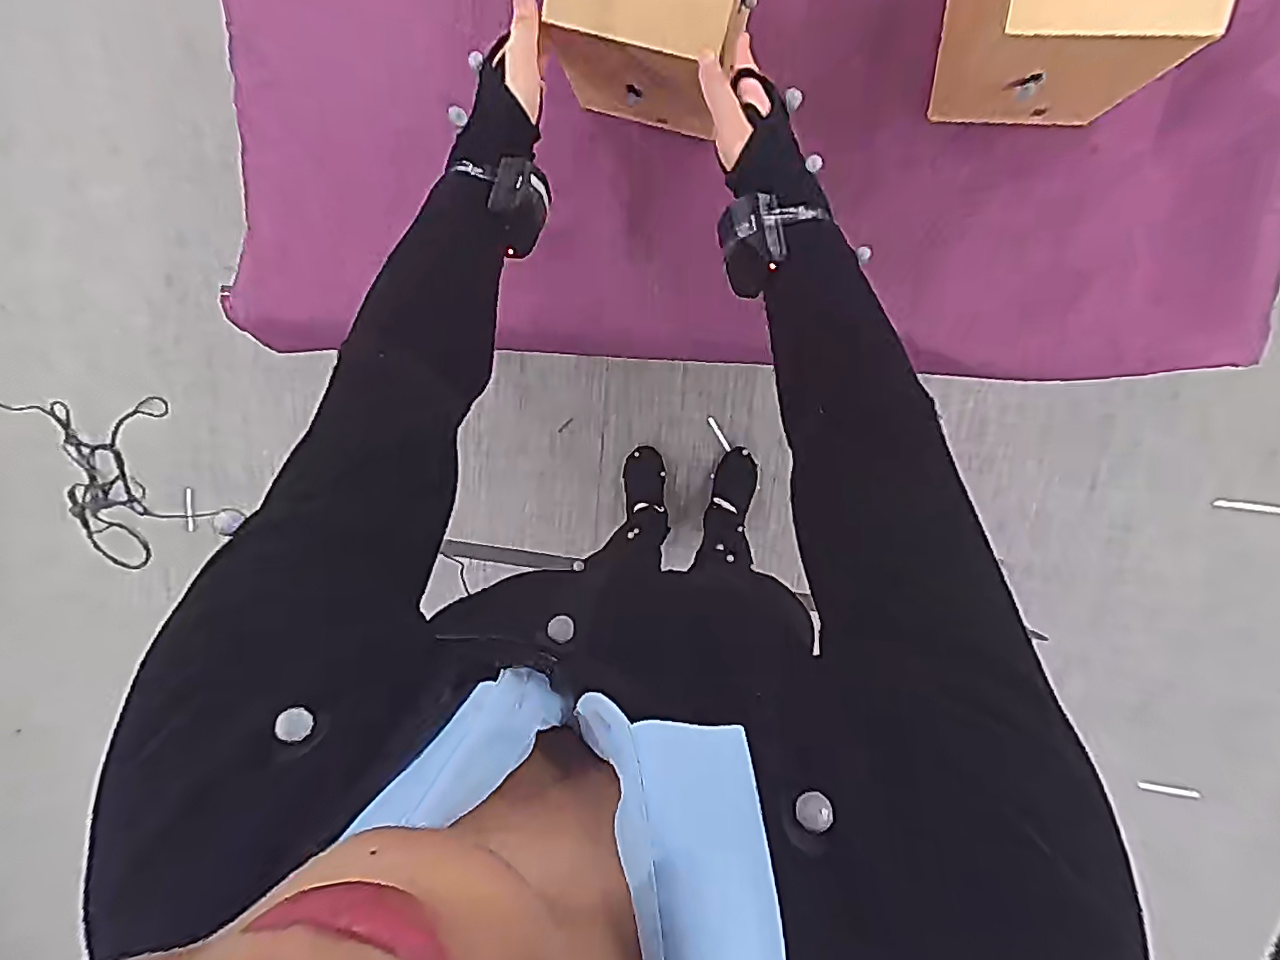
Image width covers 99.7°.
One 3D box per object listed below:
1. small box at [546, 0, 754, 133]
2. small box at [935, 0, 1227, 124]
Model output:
[{"bbox_3d":[0.024,-0.485,0.539,0.168,0.176,0.179,17,103,2],"label":"small box"},{"bbox_3d":[0.399,-0.459,0.501,0.168,0.176,0.179,6,101,6],"label":"small box"}]
